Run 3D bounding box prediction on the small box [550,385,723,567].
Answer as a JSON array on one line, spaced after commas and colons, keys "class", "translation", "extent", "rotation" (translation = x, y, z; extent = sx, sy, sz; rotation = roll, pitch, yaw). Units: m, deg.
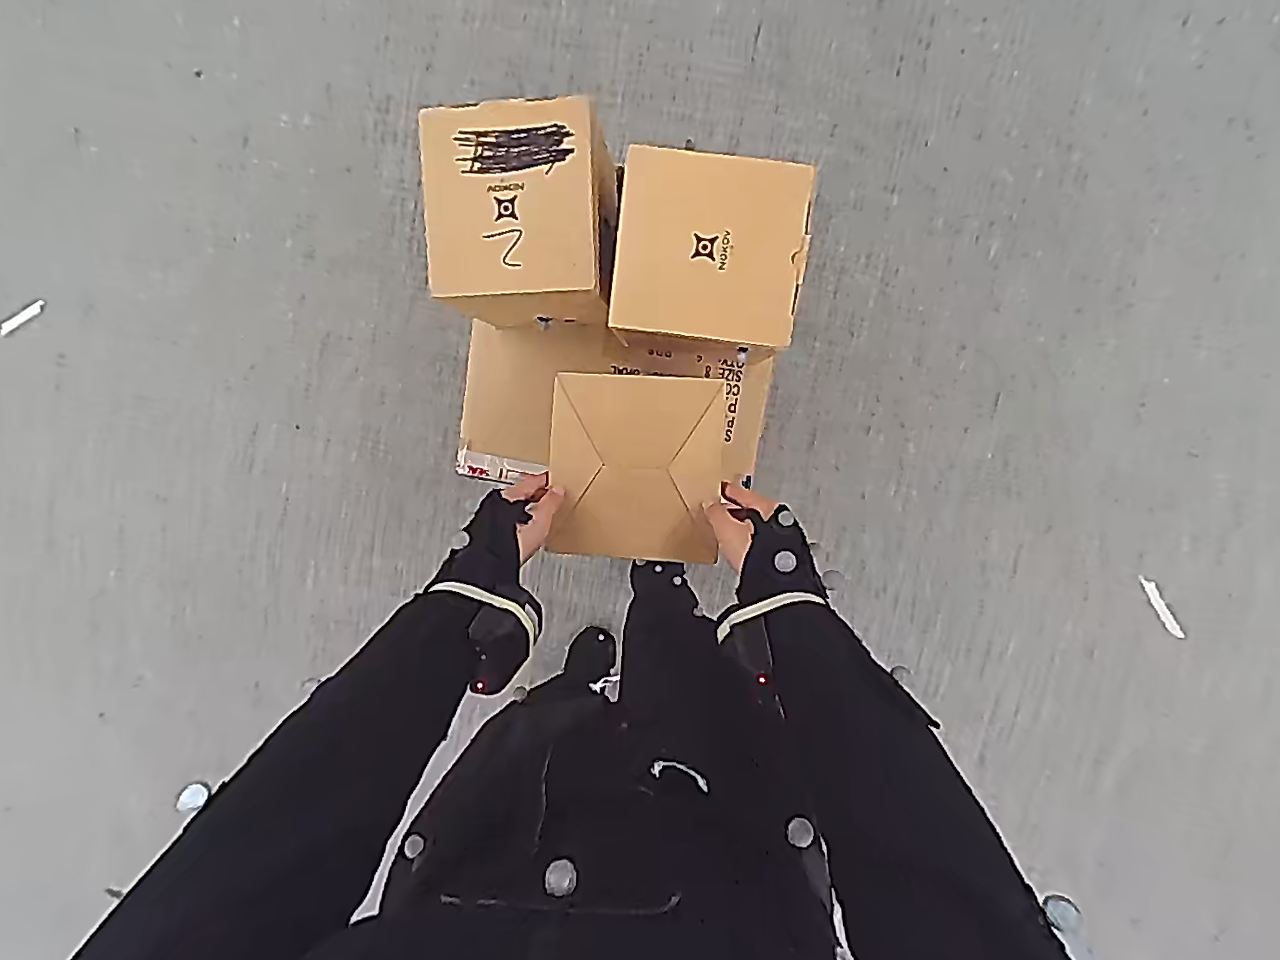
[{"class": "small box", "translation": [0.001, 0.001, 0.596], "extent": [0.168, 0.176, 0.179], "rotation": [3, 88, 4]}]
